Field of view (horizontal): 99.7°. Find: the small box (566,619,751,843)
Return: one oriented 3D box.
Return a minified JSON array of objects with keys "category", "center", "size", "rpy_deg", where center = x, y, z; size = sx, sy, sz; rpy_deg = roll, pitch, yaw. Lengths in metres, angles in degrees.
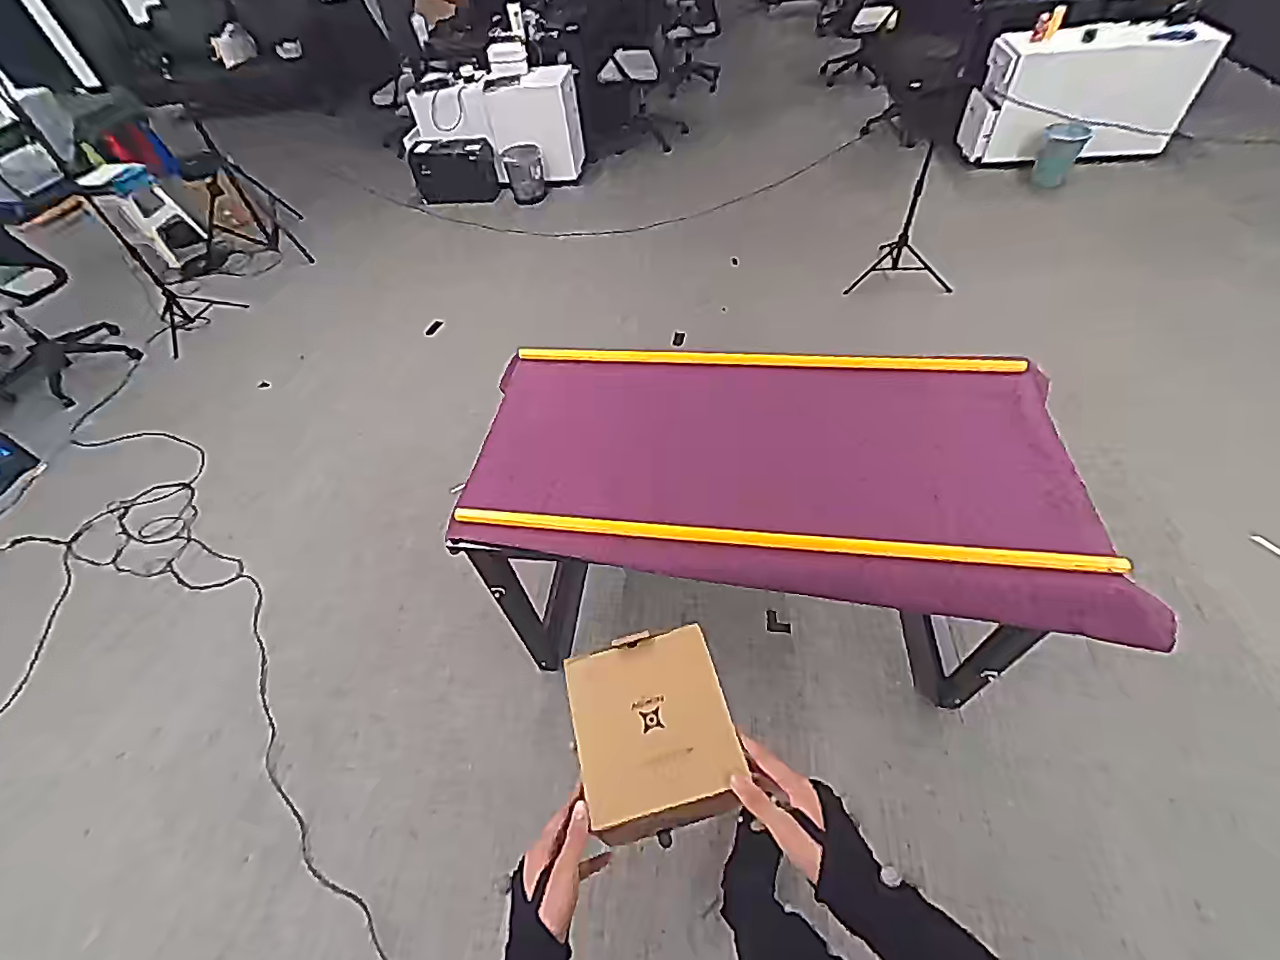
[{"category":"small box","center":[0.017,0.296,0.637],"size":[0.168,0.176,0.179],"rpy_deg":[-14,50,-6]}]
